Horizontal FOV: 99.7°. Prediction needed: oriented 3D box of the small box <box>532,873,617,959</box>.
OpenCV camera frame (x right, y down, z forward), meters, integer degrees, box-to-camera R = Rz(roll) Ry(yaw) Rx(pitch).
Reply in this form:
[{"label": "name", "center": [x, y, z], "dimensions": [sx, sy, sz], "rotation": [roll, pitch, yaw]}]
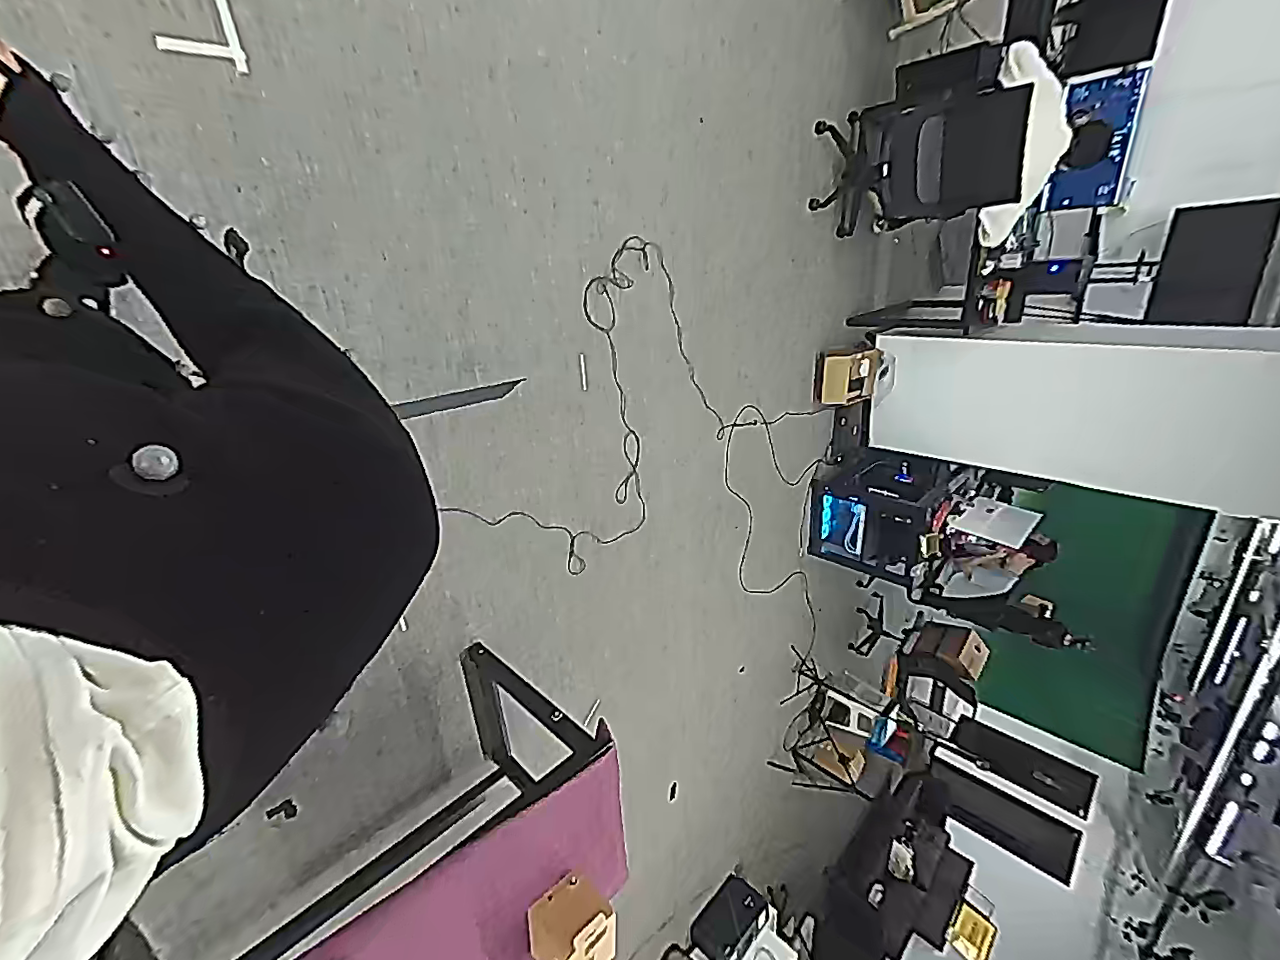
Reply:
[{"label": "small box", "center": [-0.179, 1.218, 1.462], "dimensions": [0.168, 0.176, 0.179], "rotation": [-16, 114, -42]}]
